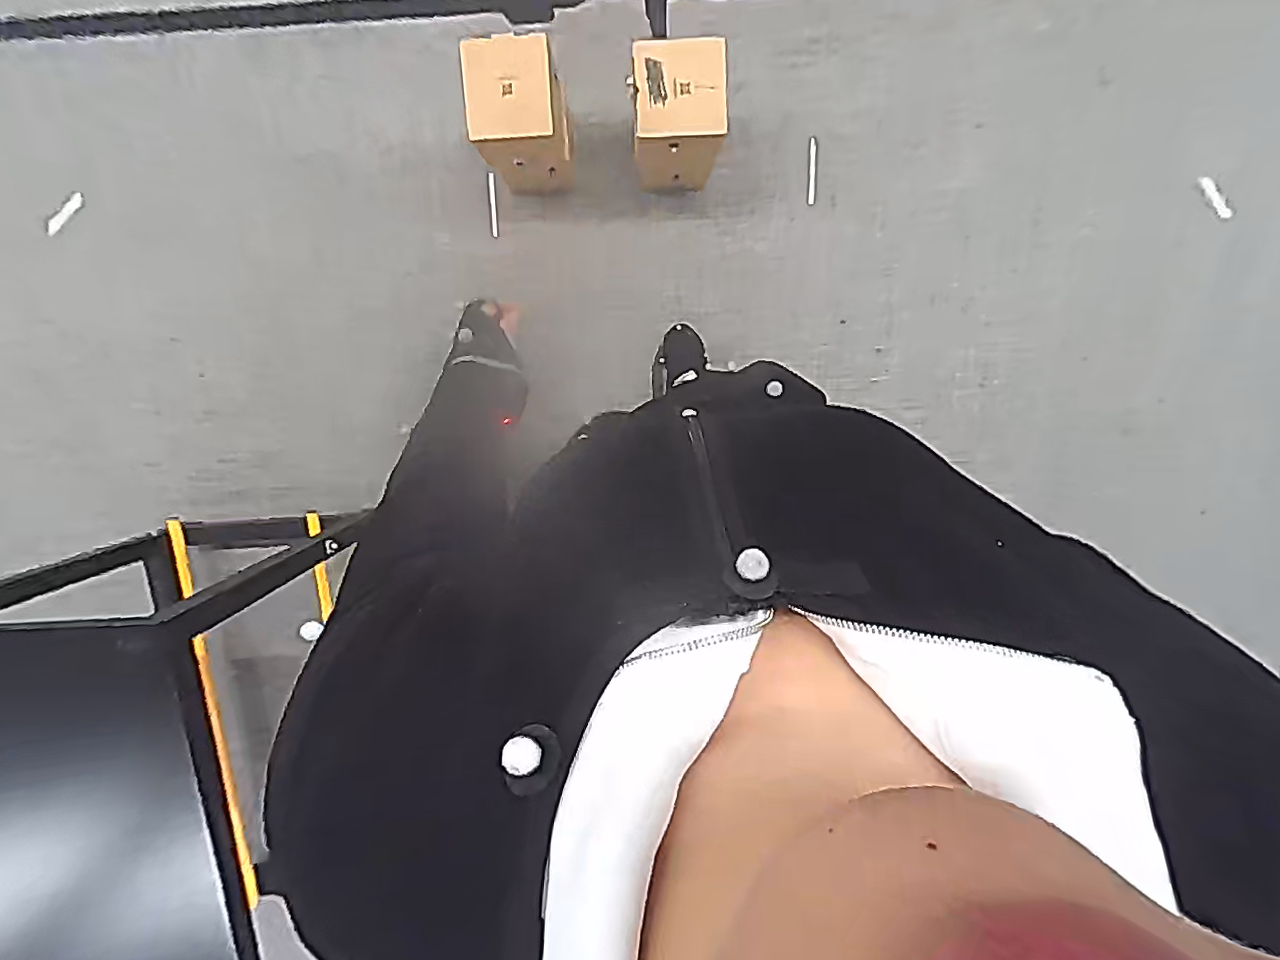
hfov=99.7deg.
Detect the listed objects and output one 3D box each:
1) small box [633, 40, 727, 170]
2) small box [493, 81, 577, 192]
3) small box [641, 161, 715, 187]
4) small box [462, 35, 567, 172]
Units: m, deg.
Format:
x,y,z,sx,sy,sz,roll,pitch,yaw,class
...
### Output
x,y,z,sx,sy,sz,roll,pitch,yaw,class
0.077,-0.748,1.096,0.179,0.176,0.168,-3,101,0,small box
-0.242,-0.788,1.254,0.179,0.176,0.168,-4,101,1,small box
0.086,-0.796,1.255,0.168,0.176,0.179,-1,102,0,small box
-0.245,-0.752,1.096,0.168,0.176,0.179,-3,102,2,small box
